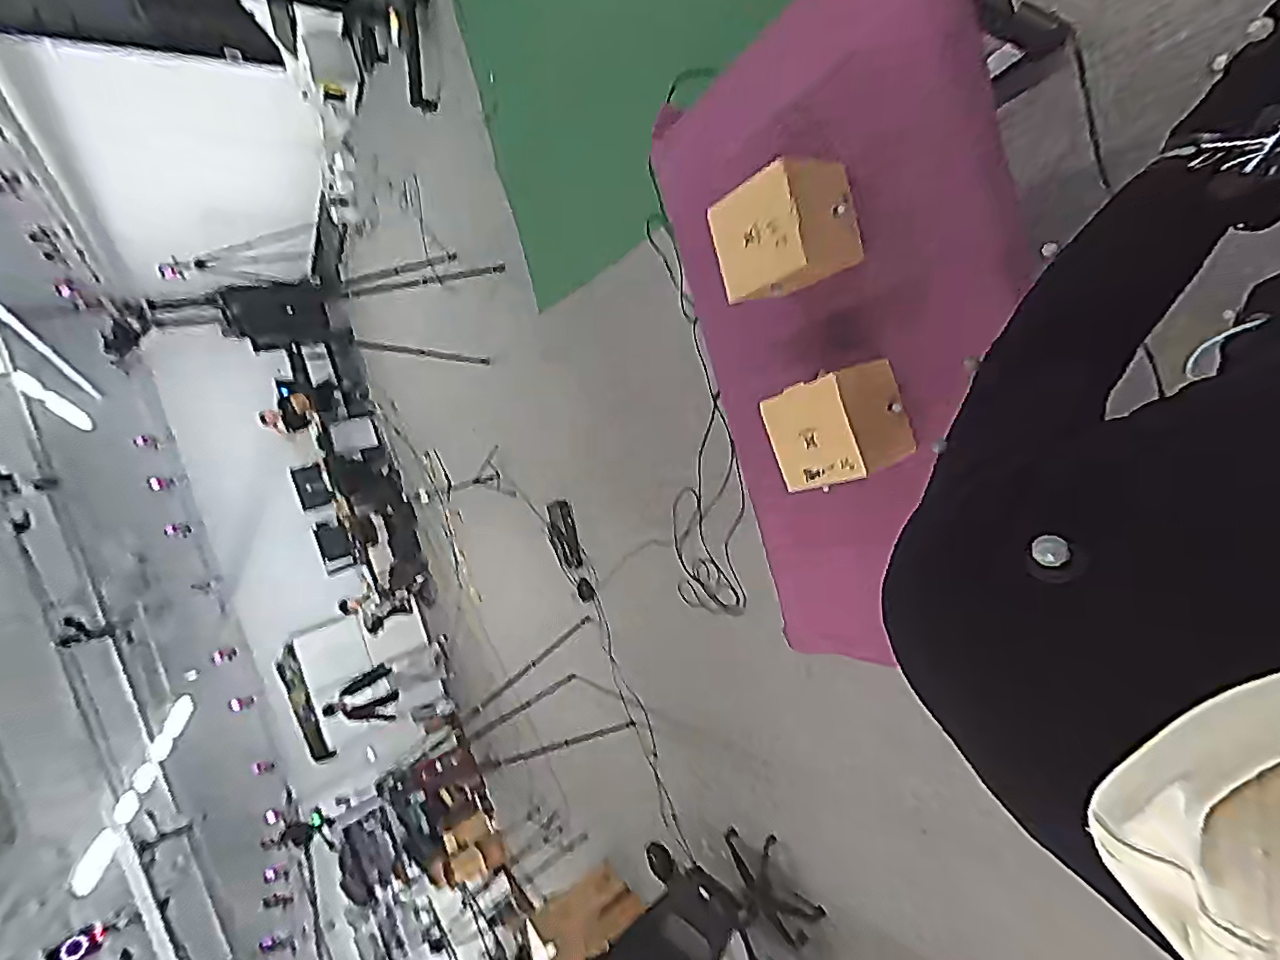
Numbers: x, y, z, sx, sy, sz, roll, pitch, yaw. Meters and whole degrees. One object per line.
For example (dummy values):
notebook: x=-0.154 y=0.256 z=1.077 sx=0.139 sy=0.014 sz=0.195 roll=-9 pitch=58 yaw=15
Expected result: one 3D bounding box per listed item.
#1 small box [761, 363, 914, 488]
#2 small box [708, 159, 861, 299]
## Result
small box: x=0.354 y=-0.101 z=0.967 sx=0.168 sy=0.176 sz=0.179 roll=-18 pitch=91 yaw=56
small box: x=0.252 y=-0.431 z=0.949 sx=0.179 sy=0.176 sz=0.168 roll=-7 pitch=101 yaw=55
